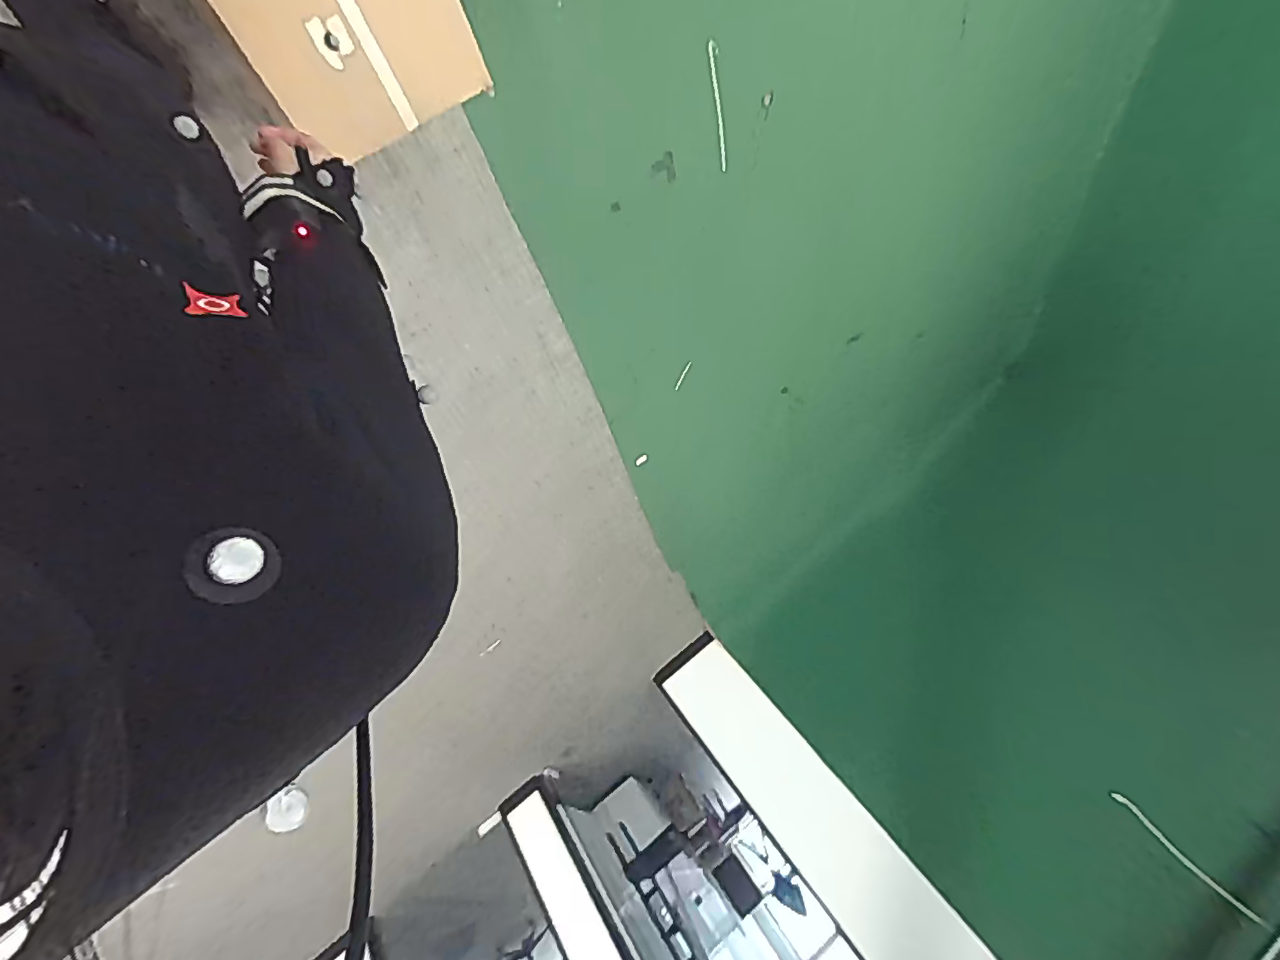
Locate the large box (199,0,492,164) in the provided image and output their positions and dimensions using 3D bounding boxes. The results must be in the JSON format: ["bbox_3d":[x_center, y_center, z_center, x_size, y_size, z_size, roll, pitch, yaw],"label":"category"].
[{"bbox_3d":[-0.498,-0.774,0.799,0.320,0.320,0.408,-37,143,-10],"label":"large box"}]
